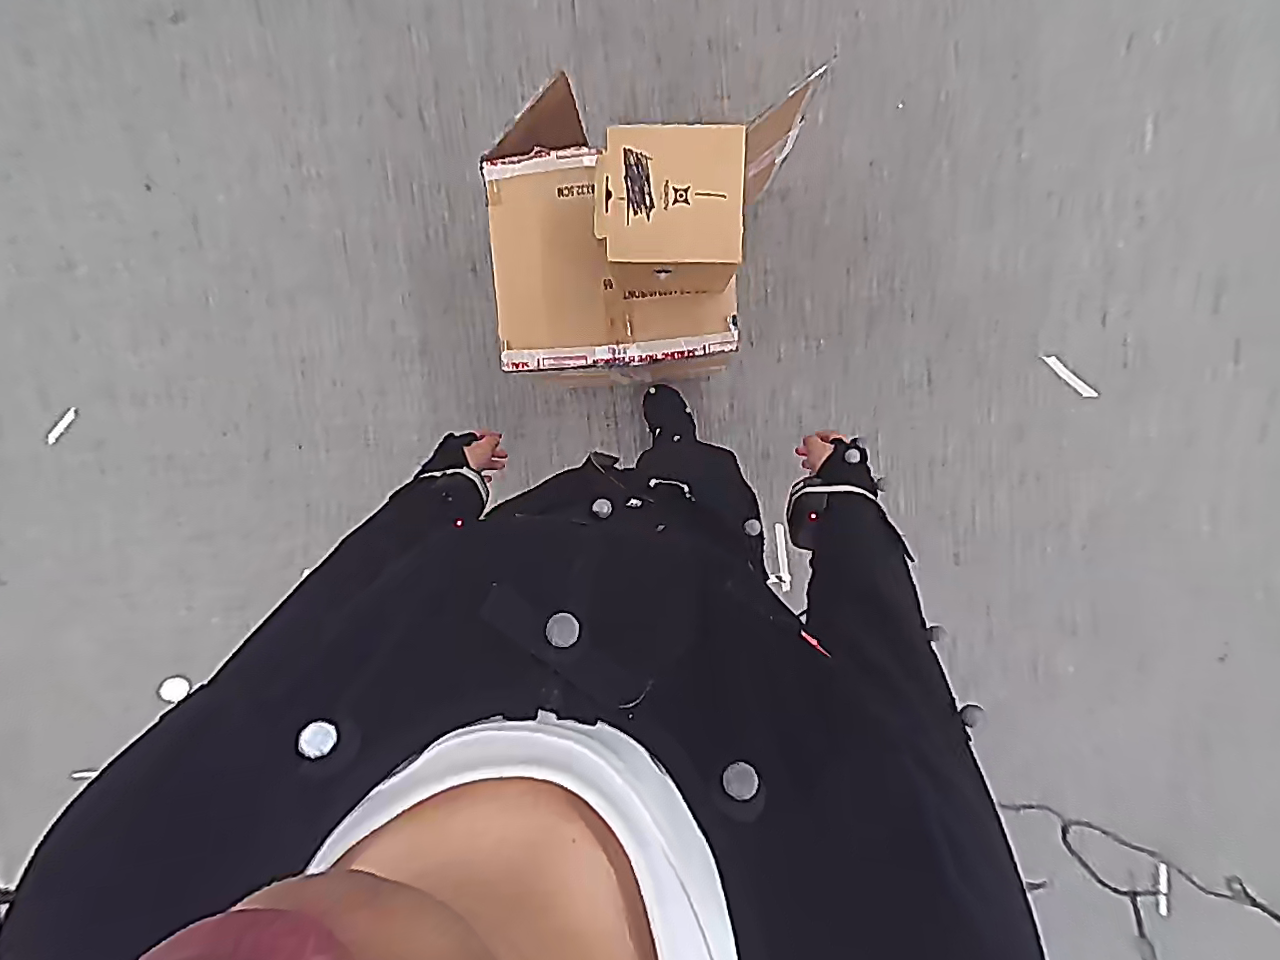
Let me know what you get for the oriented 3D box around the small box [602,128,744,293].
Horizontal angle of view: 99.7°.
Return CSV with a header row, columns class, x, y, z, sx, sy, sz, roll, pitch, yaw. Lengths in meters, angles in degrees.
class,x,y,z,sx,sy,sz,roll,pitch,yaw
small box,0.043,-0.364,0.758,0.179,0.176,0.168,1,97,1
